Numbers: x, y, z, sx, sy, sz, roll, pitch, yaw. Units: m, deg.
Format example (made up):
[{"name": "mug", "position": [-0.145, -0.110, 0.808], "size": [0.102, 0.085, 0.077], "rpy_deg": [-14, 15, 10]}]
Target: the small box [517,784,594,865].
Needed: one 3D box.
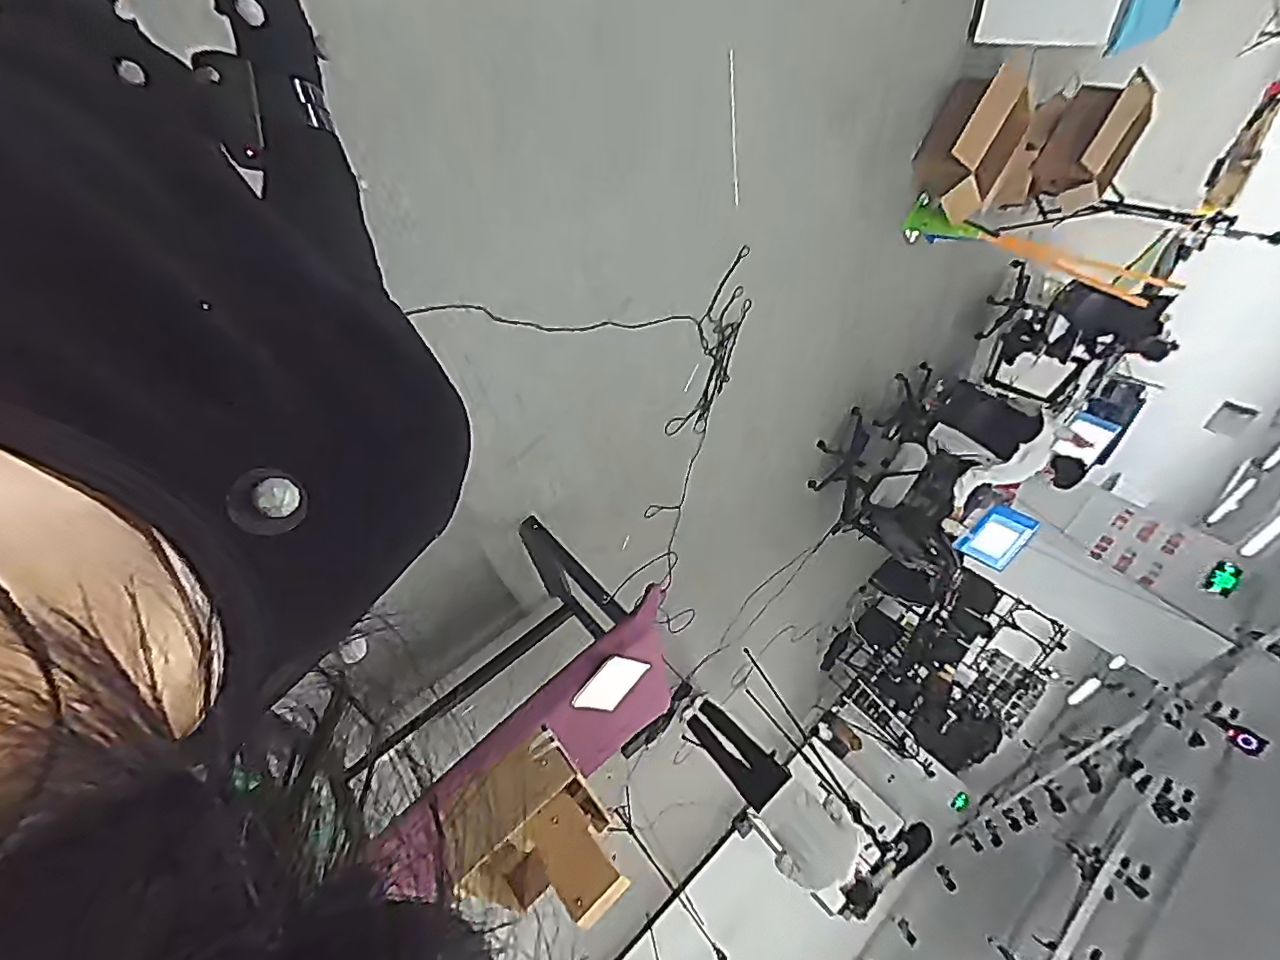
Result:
[{"name": "small box", "position": [-0.277, 1.131, 1.762], "size": [0.168, 0.176, 0.179], "rpy_deg": [-34, 139, -22]}]

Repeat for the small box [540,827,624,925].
[{"name": "small box", "position": [-0.179, 1.212, 1.661], "size": [0.179, 0.176, 0.168], "rpy_deg": [-36, 140, -20]}]
